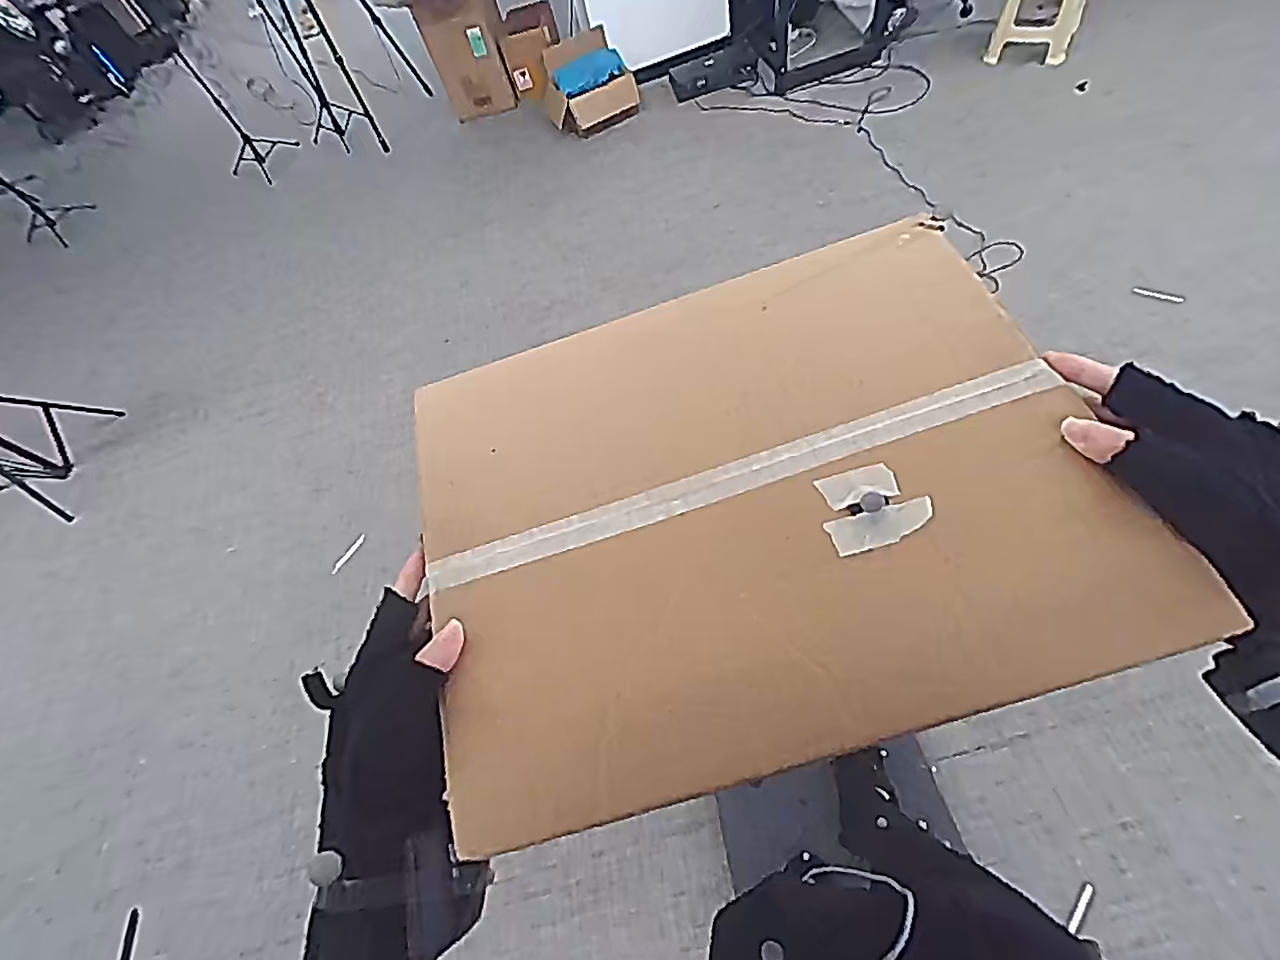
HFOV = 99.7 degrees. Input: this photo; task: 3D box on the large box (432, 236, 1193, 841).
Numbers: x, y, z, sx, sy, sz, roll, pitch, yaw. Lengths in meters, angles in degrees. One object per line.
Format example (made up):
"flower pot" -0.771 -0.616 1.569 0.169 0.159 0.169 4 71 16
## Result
"large box" 0.087 0.067 0.485 0.408 0.320 0.320 -18 63 2
